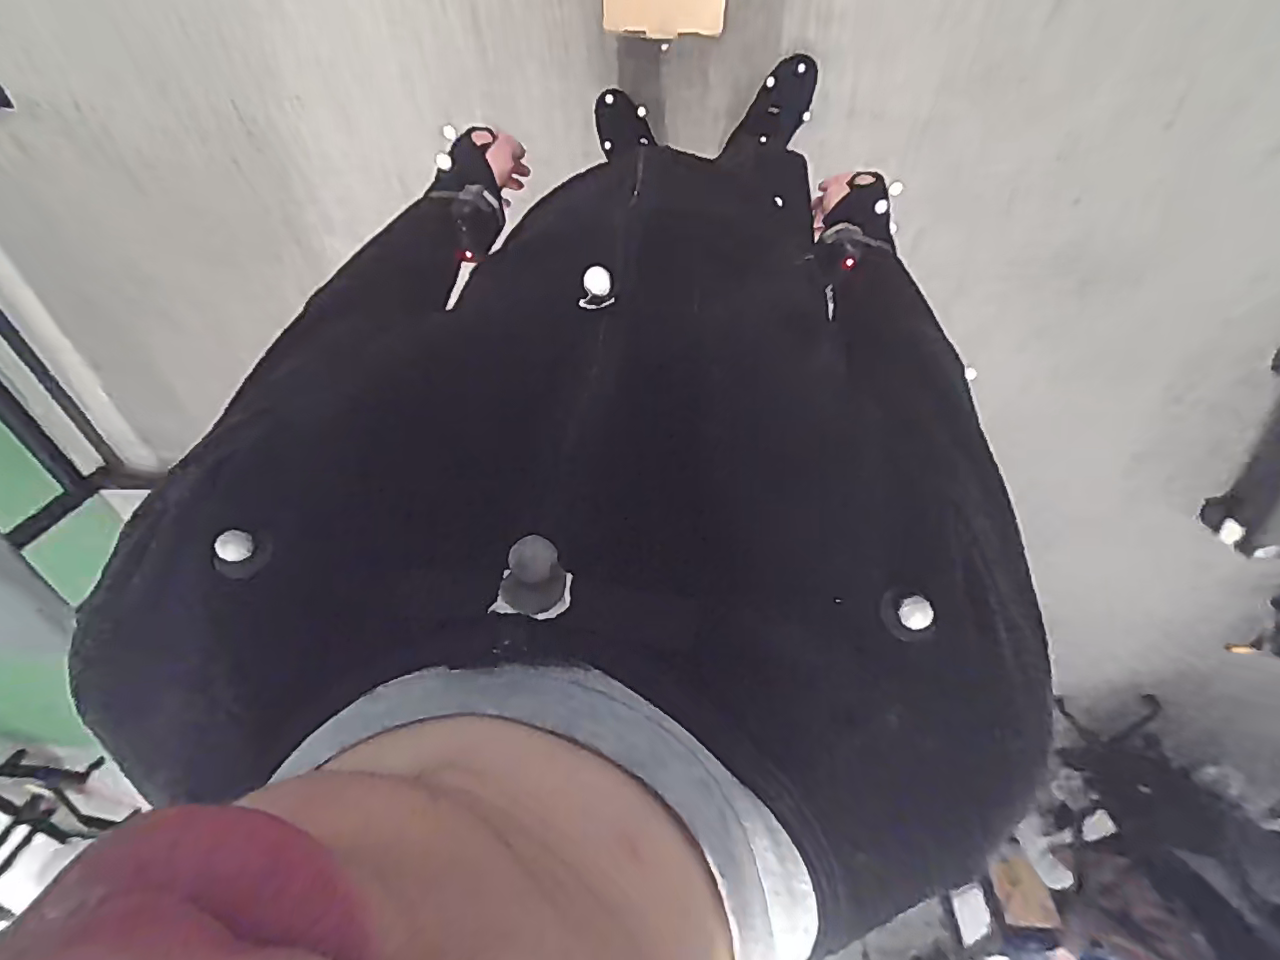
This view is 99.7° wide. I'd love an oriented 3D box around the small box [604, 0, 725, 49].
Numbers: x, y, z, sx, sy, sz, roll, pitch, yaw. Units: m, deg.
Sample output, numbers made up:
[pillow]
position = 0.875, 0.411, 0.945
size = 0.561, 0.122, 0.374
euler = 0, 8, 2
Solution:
[small box]
position = 0.044, -0.731, 0.768
size = 0.168, 0.176, 0.179
euler = 6, 129, 2
